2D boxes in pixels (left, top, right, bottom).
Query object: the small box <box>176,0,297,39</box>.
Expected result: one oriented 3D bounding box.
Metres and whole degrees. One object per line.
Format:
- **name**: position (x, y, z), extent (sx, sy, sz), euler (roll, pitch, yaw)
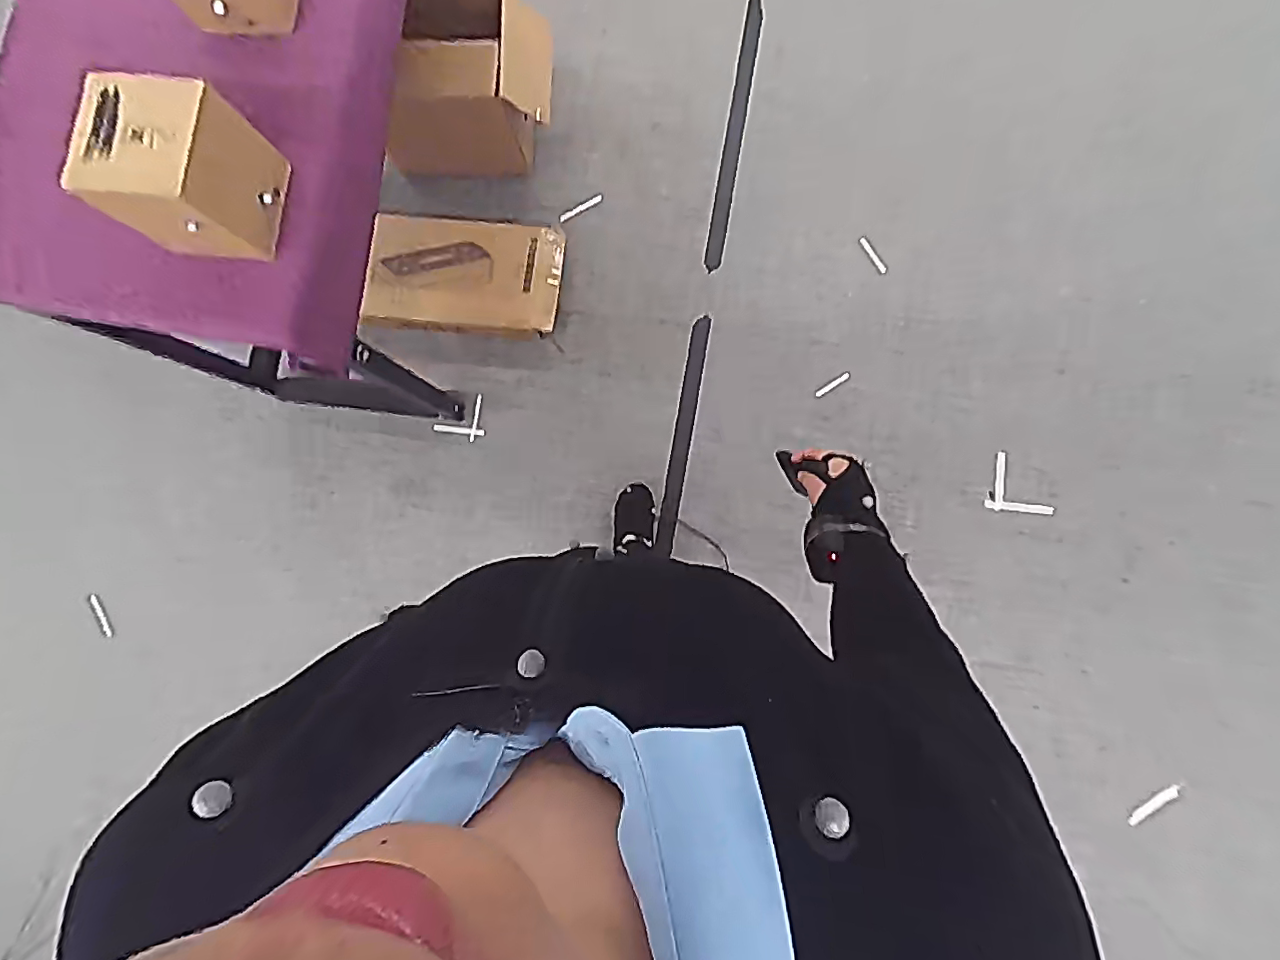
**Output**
- **small box**: position (-0.653, -0.834, 0.831), extent (0.168, 0.176, 0.179), euler (6, 84, 7)
